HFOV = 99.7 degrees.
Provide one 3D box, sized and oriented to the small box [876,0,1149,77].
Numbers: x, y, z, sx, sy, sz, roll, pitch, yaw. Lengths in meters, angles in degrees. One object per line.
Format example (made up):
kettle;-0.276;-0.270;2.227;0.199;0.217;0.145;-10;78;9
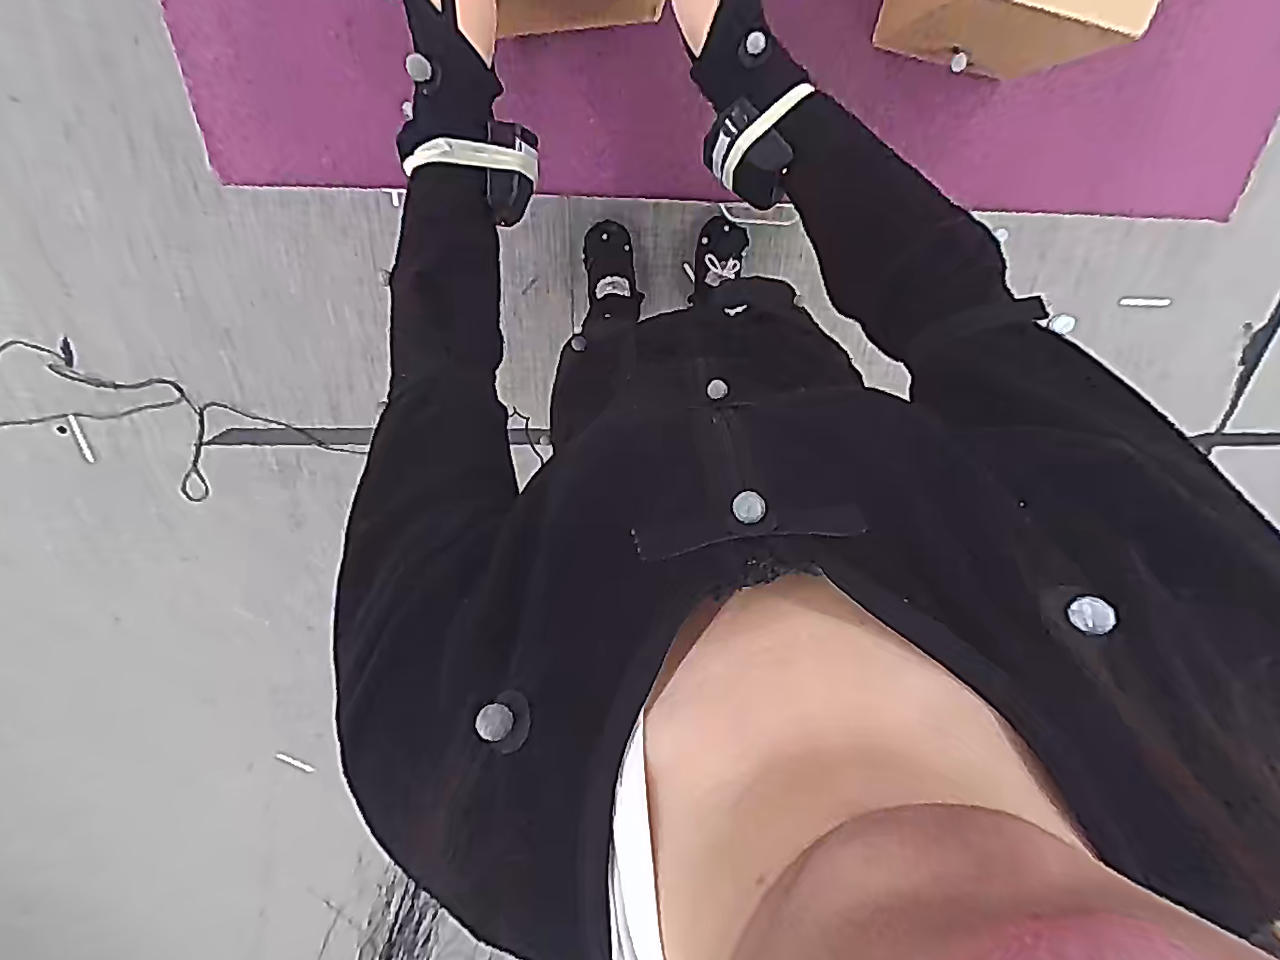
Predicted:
small box;0.342;-0.495;0.479;0.168;0.176;0.179;6;116;-9

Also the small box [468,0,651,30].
small box;-0.065;-0.482;0.408;0.179;0.176;0.168;-10;107;-5
